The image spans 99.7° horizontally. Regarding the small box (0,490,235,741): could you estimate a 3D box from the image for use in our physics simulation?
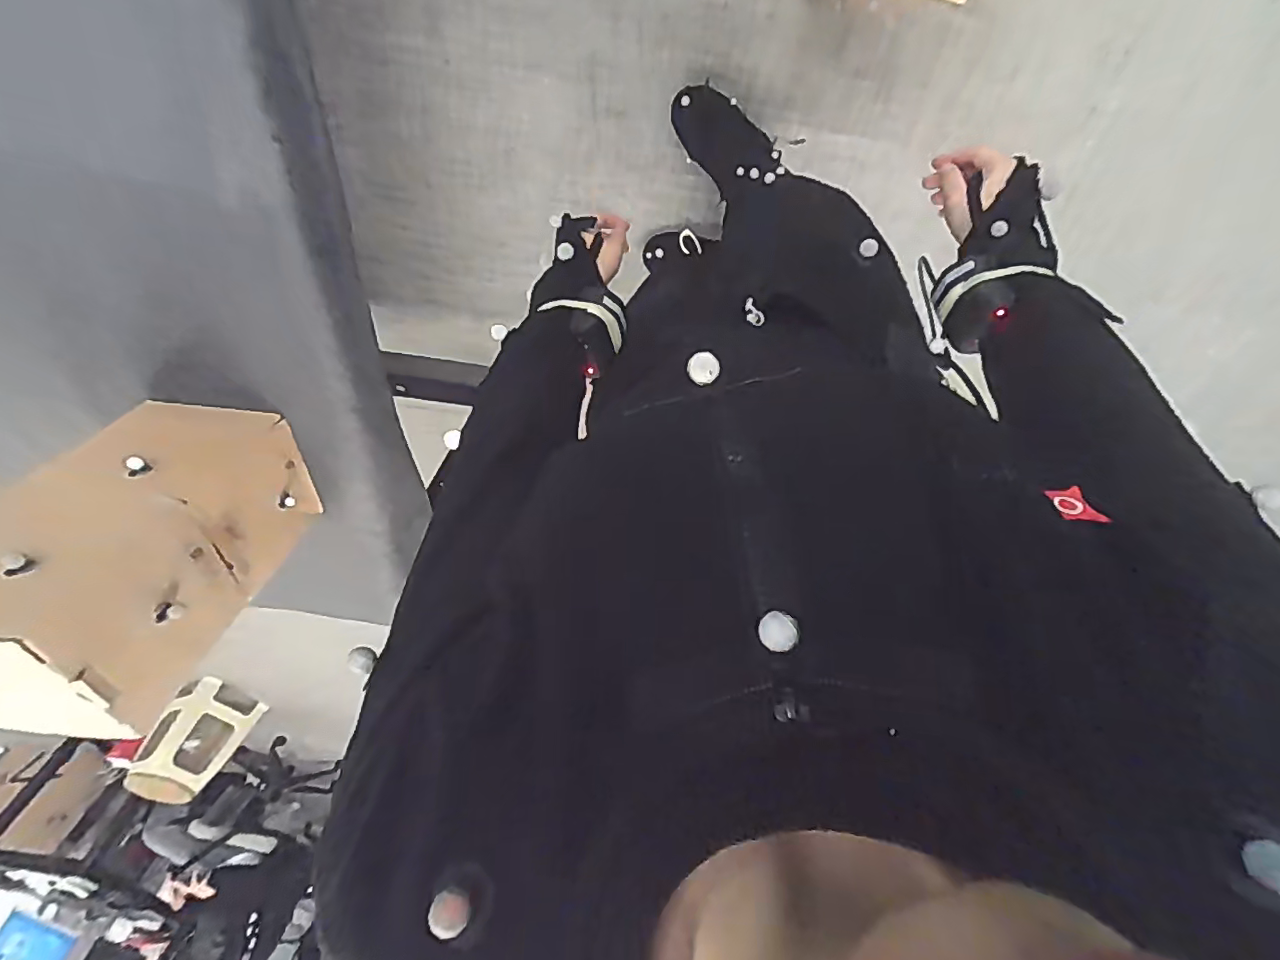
[{"bbox_3d":[-0.540,0.125,0.520,0.179,0.176,0.168,4,129,2],"label":"small box"}]

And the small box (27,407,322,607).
[{"bbox_3d":[-0.530,0.026,0.650,0.179,0.176,0.168,6,129,1],"label":"small box"}]

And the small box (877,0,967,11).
[{"bbox_3d":[0.349,-0.720,0.676,0.168,0.176,0.179,12,130,-2],"label":"small box"}]
